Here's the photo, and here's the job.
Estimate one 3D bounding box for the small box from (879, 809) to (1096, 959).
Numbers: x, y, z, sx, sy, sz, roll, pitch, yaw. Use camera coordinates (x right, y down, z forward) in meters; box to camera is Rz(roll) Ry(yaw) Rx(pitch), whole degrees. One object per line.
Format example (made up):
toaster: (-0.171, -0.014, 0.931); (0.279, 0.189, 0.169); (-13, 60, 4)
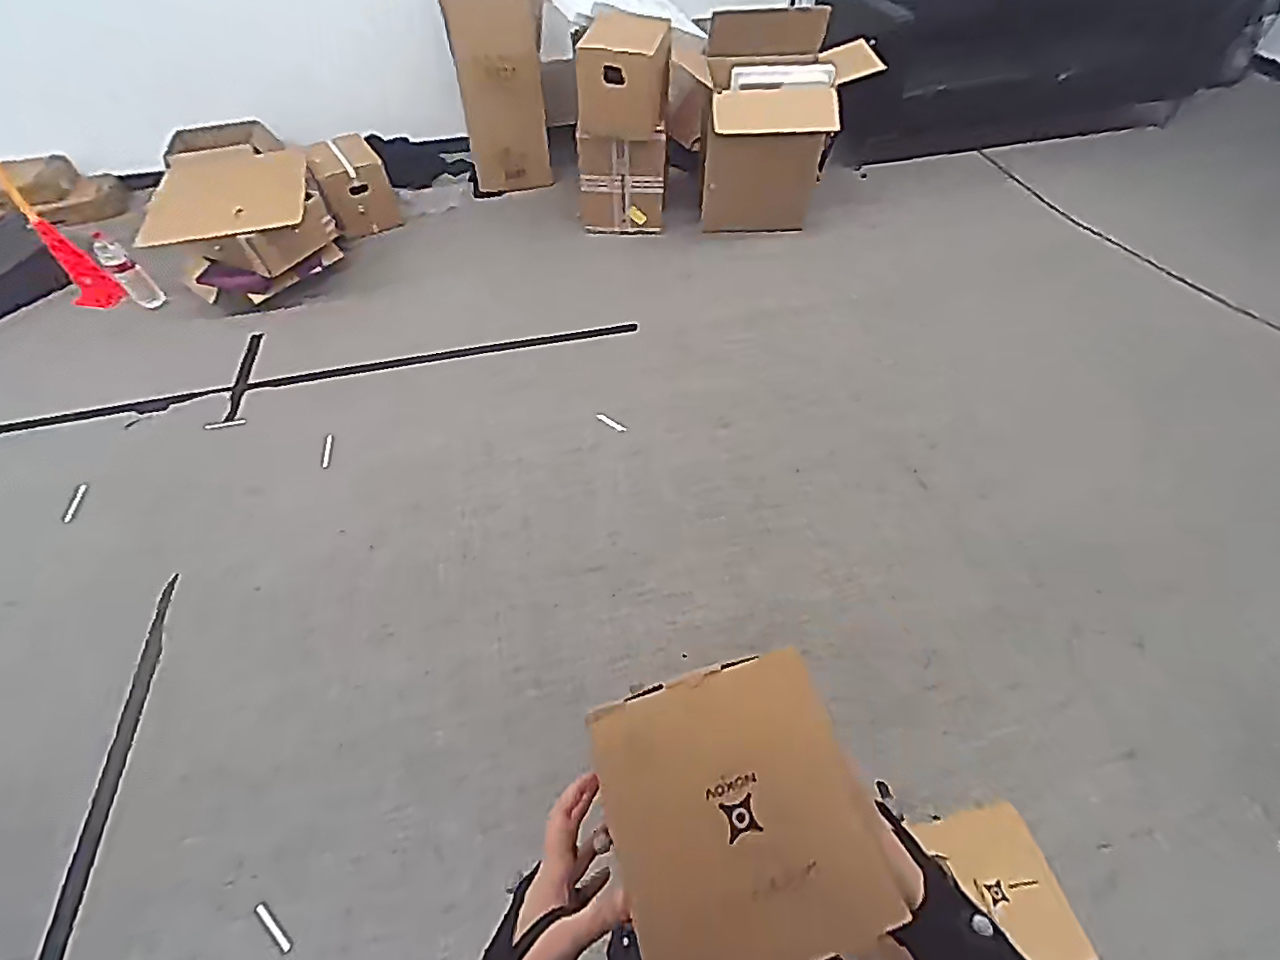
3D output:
small box: (0.421, 0.555, 0.710); (0.179, 0.176, 0.168); (-9, 53, -7)

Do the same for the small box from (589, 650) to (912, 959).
small box: (0.059, 0.252, 0.418); (0.168, 0.176, 0.179); (-14, 66, -10)
